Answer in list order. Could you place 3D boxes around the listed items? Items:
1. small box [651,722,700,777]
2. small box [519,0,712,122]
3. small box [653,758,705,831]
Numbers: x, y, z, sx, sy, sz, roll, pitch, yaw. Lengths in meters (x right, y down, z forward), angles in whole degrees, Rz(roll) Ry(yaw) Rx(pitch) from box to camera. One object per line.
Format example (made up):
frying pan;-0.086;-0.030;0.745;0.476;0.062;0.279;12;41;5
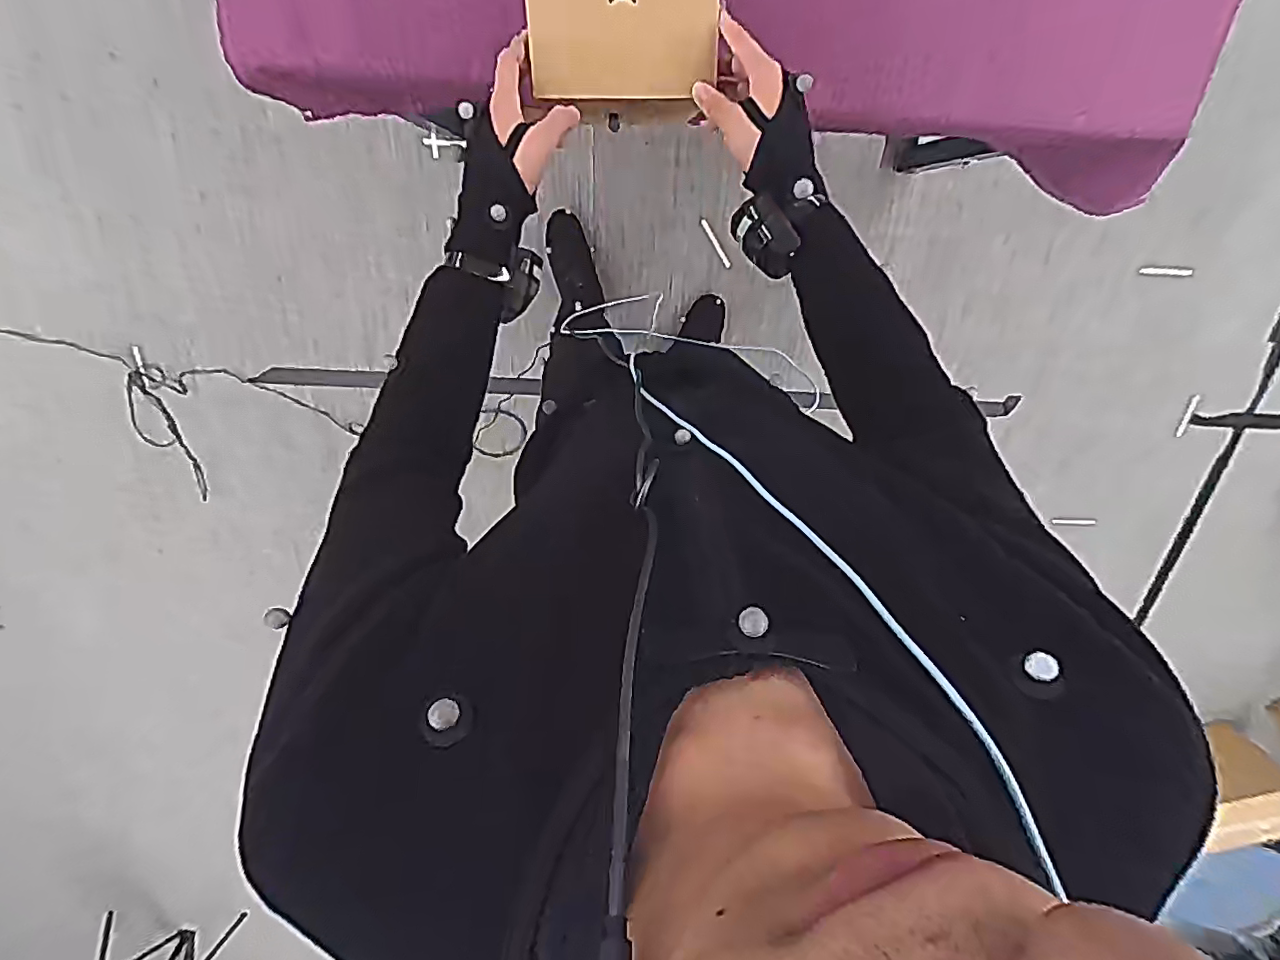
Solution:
small box;0.136;1.090;2.151;0.179;0.176;0.168;0;115;-4
small box;-0.027;-0.455;0.516;0.168;0.176;0.179;-3;116;-6
small box;0.140;1.161;2.003;0.168;0.176;0.179;0;114;-4
